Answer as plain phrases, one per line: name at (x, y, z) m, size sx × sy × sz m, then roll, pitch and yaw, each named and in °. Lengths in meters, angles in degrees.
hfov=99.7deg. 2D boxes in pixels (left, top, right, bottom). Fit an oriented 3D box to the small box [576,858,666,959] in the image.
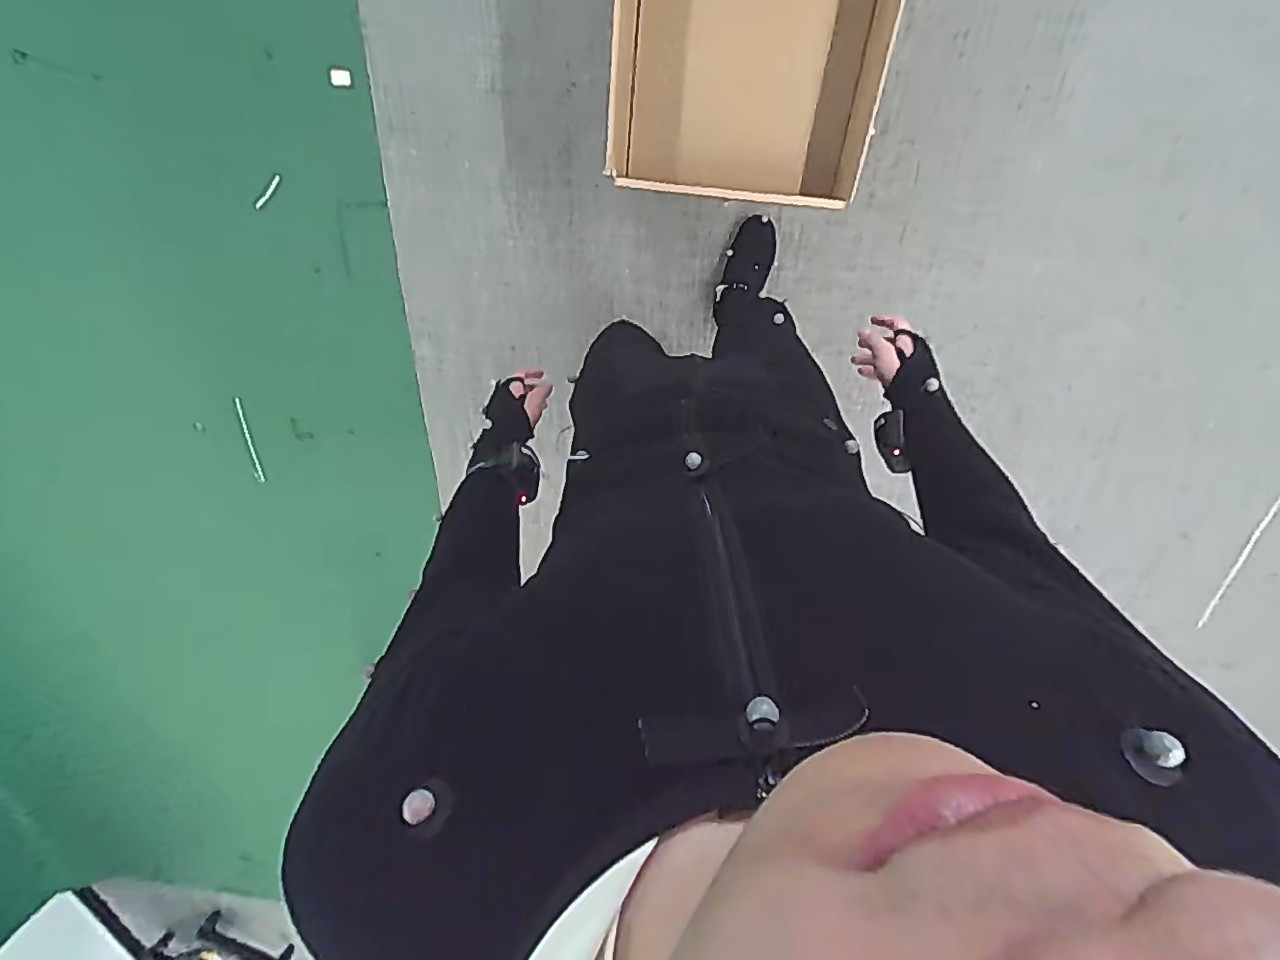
small box at (-0.043, 1.137, 1.418) m, size 0.168 × 0.176 × 0.179 m, roll 34°, pitch 117°, yaw -10°
